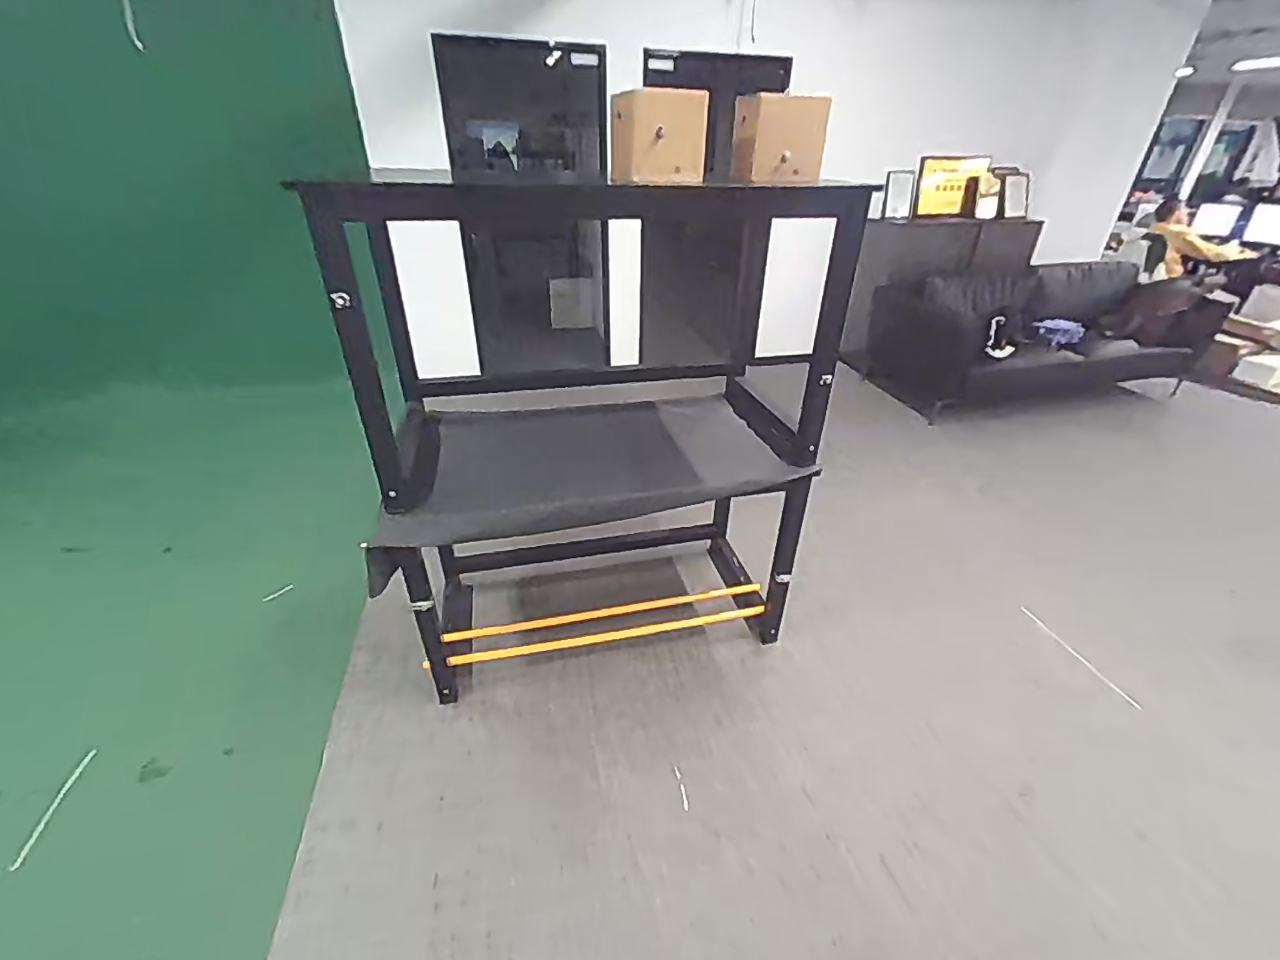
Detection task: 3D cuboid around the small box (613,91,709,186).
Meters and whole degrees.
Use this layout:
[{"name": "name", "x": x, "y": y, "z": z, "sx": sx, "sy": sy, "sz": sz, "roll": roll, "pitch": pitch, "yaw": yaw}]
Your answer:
[{"name": "small box", "x": 0.042, "y": -0.752, "z": 1.202, "sx": 0.168, "sy": 0.176, "sz": 0.179, "roll": -9, "pitch": 32, "yaw": -16}]

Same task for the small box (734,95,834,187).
[{"name": "small box", "x": 0.326, "y": -0.789, "z": 1.267, "sx": 0.168, "sy": 0.176, "sz": 0.179, "roll": -4, "pitch": 32, "yaw": -7}]
